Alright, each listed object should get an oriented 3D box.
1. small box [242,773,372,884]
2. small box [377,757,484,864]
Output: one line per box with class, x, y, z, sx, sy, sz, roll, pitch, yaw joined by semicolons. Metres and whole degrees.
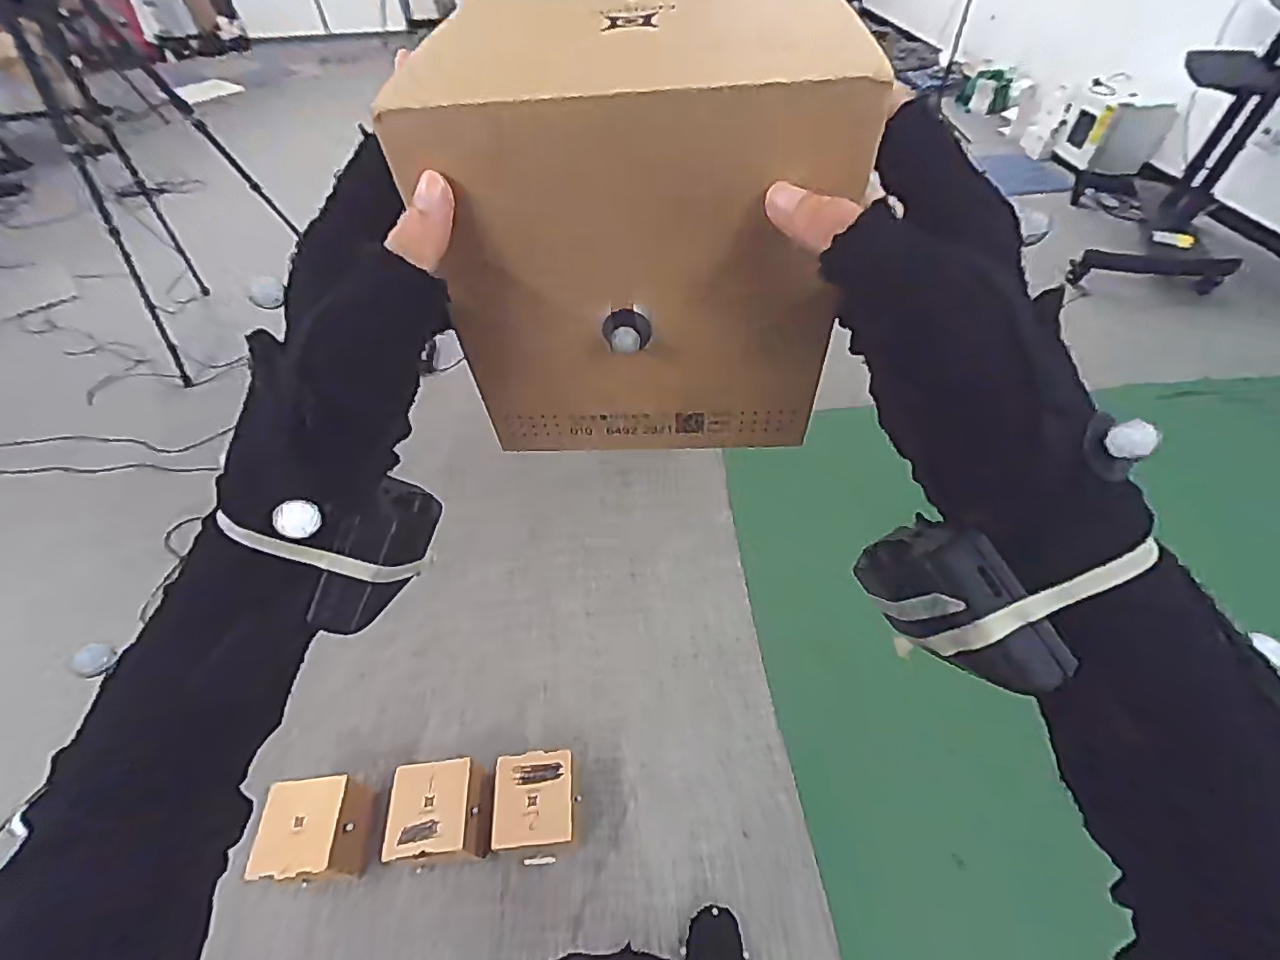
small box;-0.718;0.771;1.193;0.168;0.176;0.179;-6;50;-2
small box;-0.454;0.740;1.204;0.168;0.176;0.179;-6;49;-2
